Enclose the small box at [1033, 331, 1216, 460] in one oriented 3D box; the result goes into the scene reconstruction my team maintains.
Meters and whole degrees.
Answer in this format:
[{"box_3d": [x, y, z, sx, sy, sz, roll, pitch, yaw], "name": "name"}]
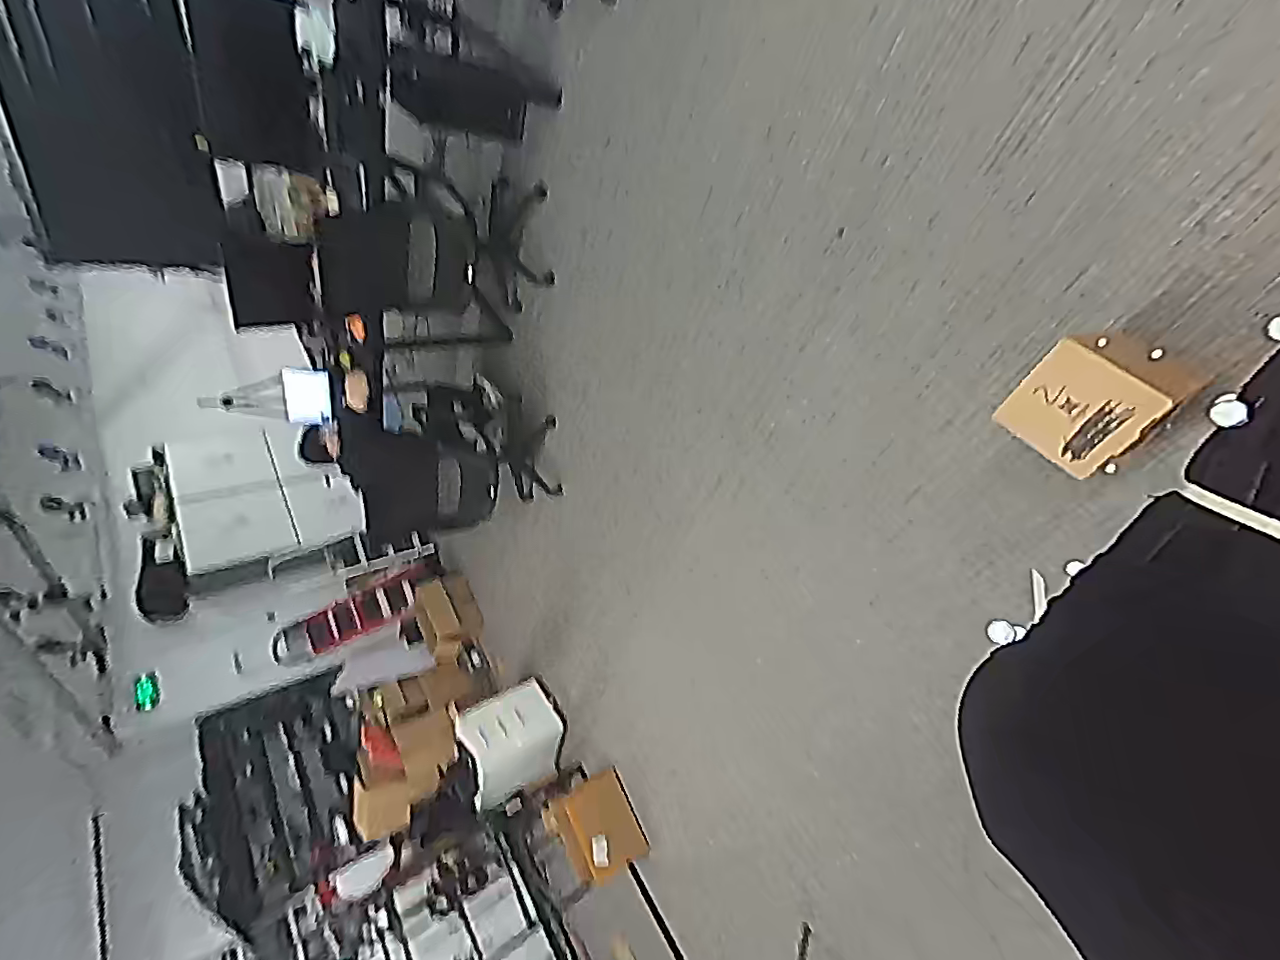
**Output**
[{"box_3d": [0.884, -0.162, 0.992, 0.179, 0.176, 0.168, 46, 136, 32], "name": "small box"}]
